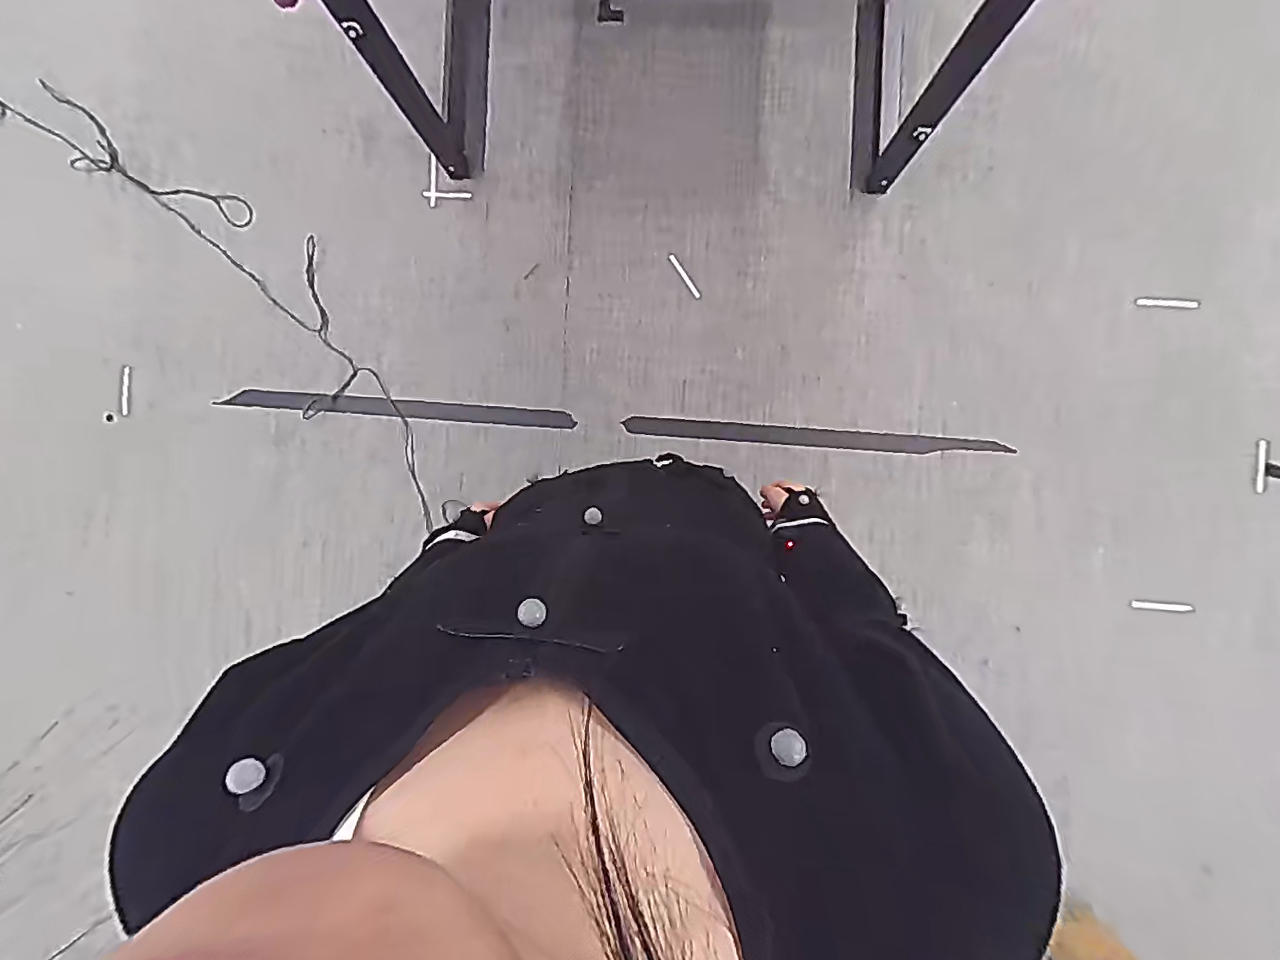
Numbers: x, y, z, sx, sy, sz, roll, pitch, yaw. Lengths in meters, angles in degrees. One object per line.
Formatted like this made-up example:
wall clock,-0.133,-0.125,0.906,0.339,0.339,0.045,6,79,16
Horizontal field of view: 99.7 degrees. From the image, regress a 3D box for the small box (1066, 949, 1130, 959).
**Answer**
small box,1.104,1.238,1.233,0.168,0.176,0.179,7,91,1
